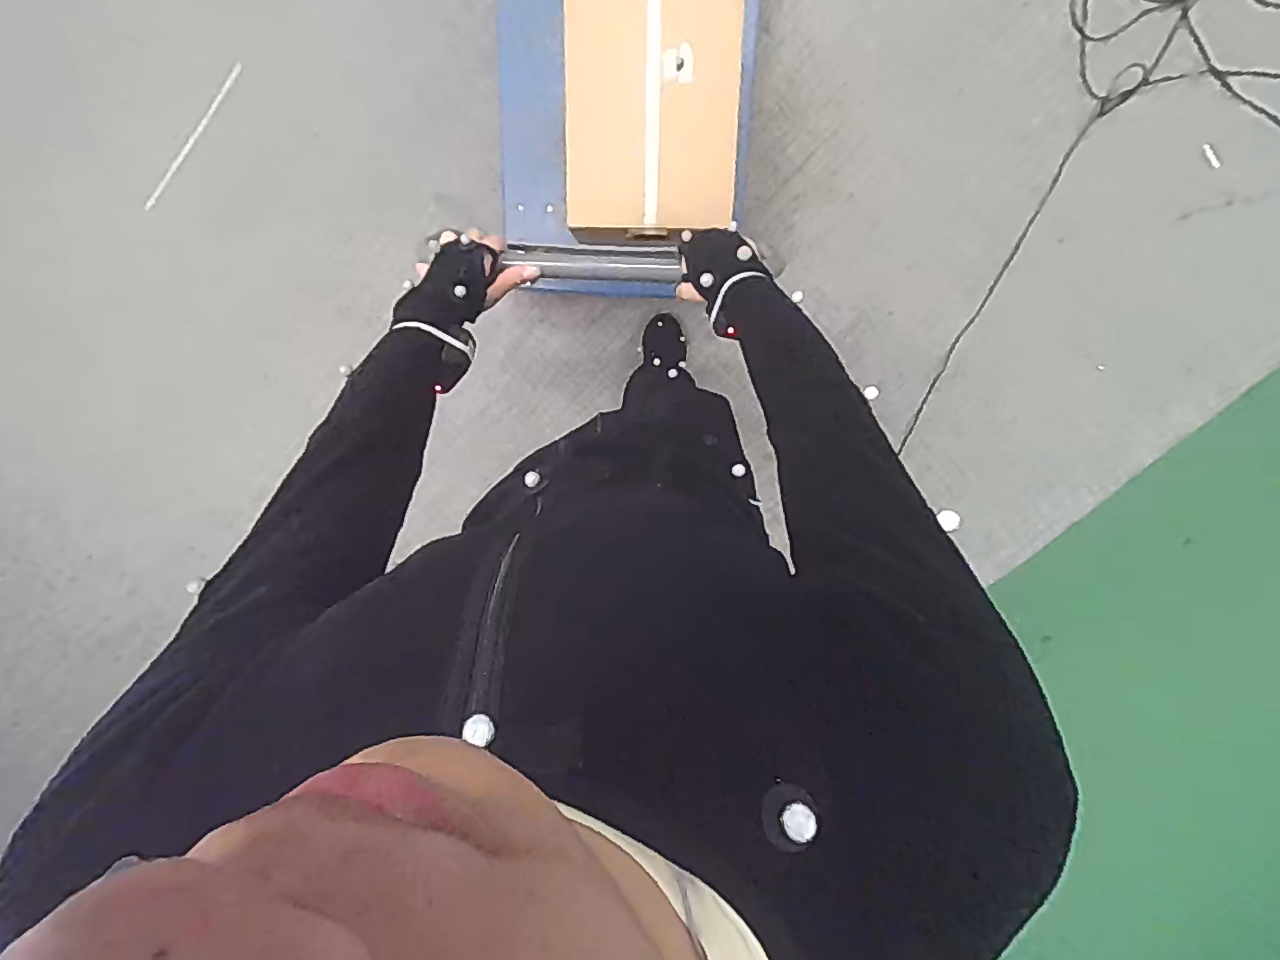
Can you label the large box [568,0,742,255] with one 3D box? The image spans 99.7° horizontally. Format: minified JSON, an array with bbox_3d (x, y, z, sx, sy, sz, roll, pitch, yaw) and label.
[{"bbox_3d":[0.029,-0.709,1.137,0.320,0.320,0.408,1,104,0],"label":"large box"}]
